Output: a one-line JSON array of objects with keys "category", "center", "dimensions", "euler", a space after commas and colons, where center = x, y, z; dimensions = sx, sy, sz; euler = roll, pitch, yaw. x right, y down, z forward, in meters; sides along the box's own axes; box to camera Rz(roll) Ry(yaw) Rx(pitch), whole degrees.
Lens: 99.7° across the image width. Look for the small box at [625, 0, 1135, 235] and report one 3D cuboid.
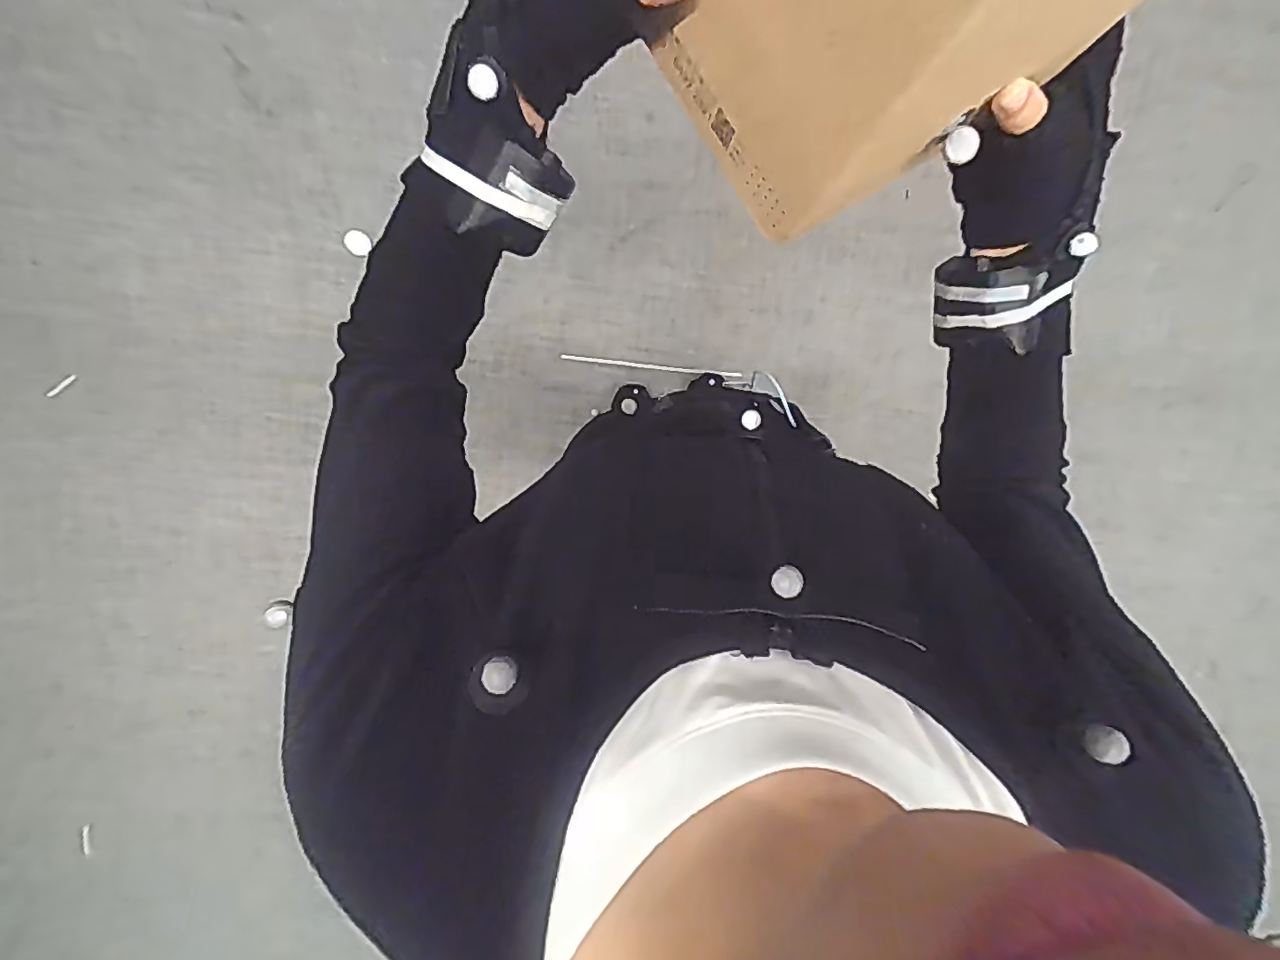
[{"category": "small box", "center": [0.110, -0.237, 0.210], "dimensions": [0.179, 0.176, 0.168], "euler": [-32, 93, -7]}]
